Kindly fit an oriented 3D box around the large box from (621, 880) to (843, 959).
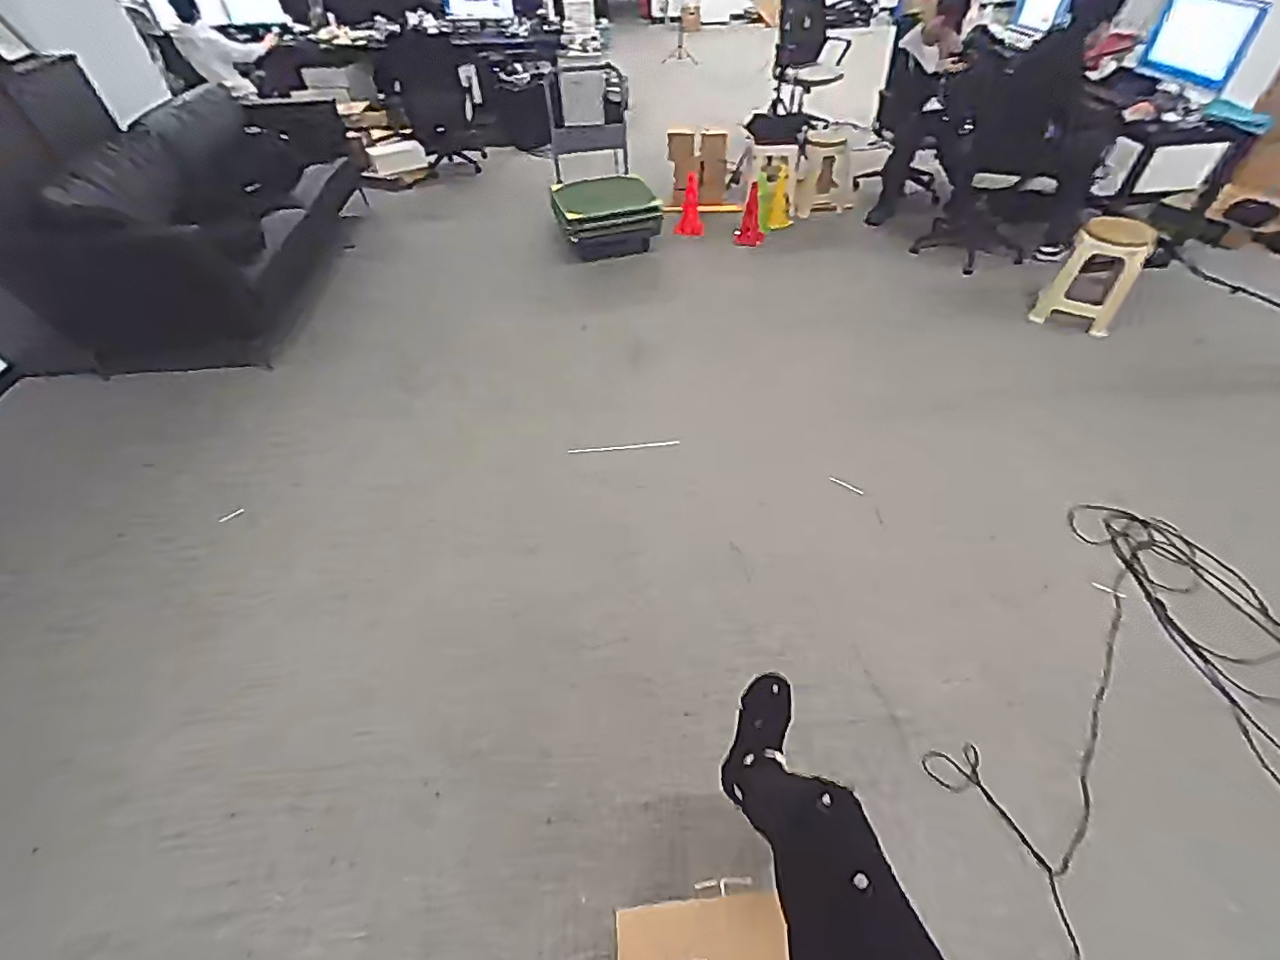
[{"bbox_3d":[0.184,1.017,1.053,0.408,0.320,0.320,-6,46,-2],"label":"large box"}]
